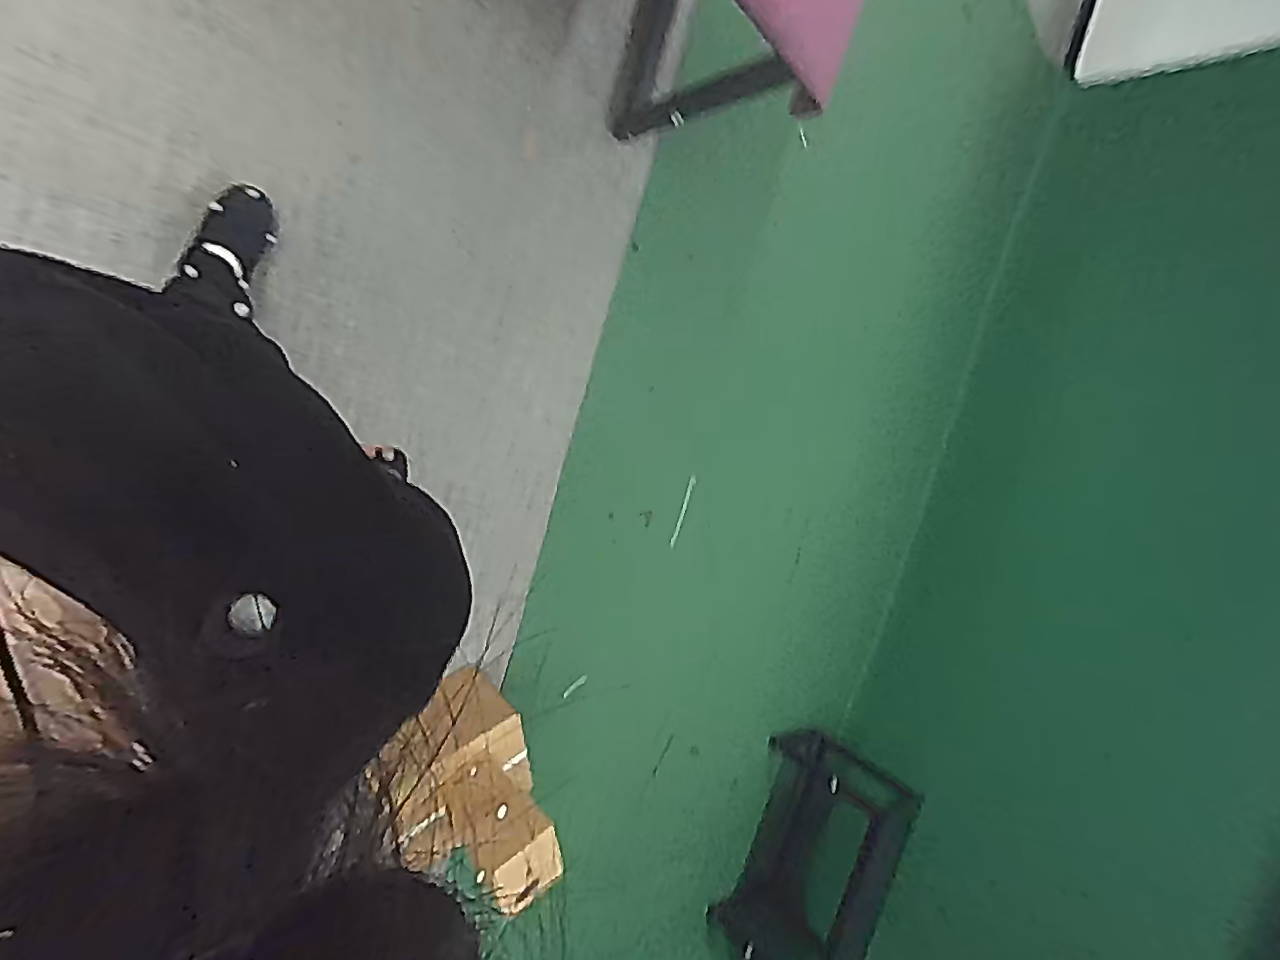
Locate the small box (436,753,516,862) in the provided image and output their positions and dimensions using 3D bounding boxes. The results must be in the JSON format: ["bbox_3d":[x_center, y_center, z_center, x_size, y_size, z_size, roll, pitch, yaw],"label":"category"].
[{"bbox_3d":[-0.426,0.890,1.465,0.168,0.176,0.179,-28,121,-34],"label":"small box"}]

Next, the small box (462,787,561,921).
[{"bbox_3d":[-0.320,0.917,1.342,0.168,0.176,0.179,-23,117,-36],"label":"small box"}]
